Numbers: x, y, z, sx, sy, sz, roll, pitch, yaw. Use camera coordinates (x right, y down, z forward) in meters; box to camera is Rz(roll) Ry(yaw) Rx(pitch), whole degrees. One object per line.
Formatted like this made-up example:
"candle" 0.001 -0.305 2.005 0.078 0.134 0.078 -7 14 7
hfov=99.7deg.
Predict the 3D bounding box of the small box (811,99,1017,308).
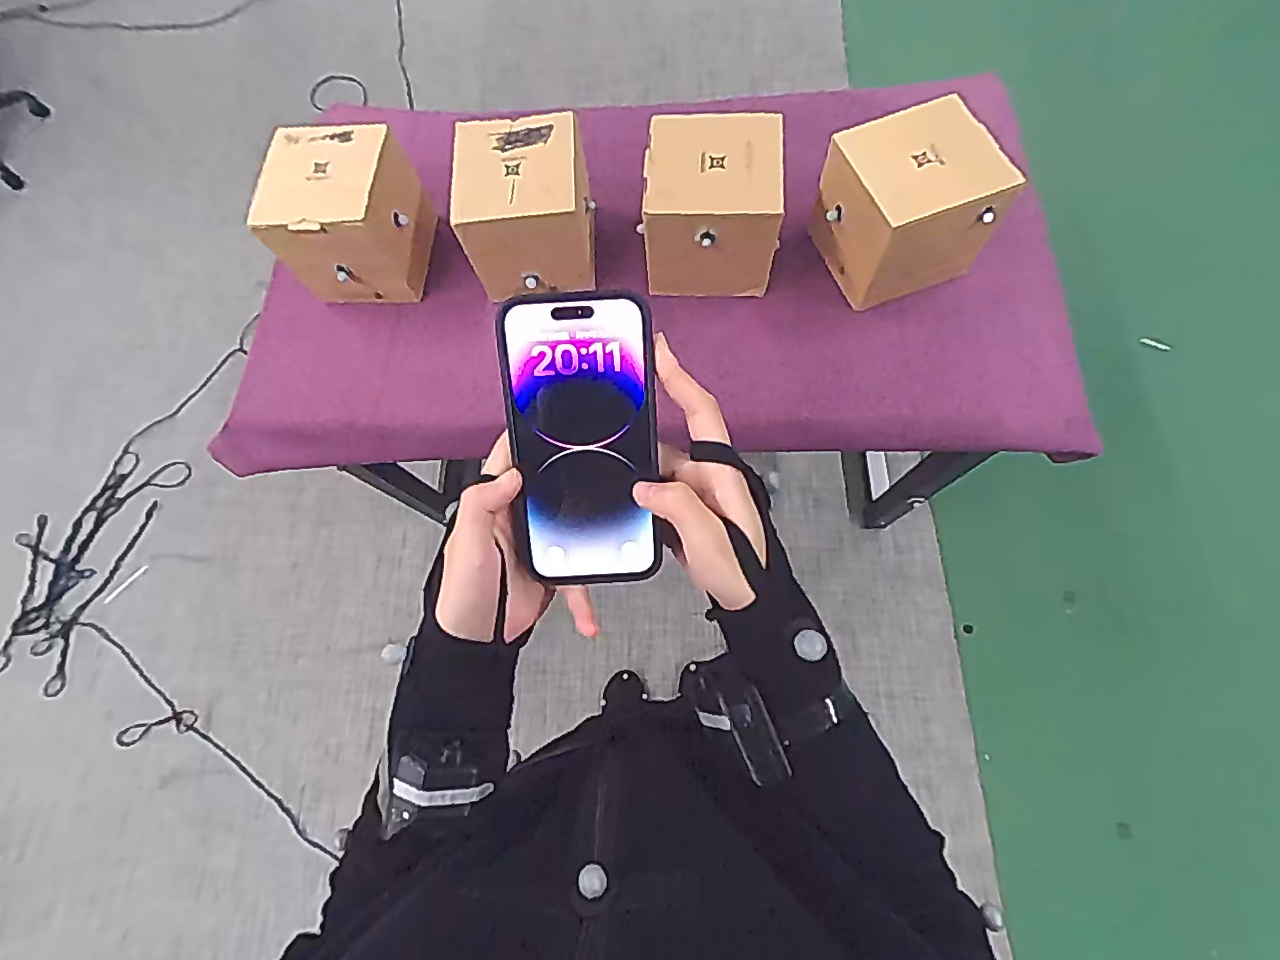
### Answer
"small box" 0.354 -0.369 0.747 0.179 0.176 0.168 -20 70 -3

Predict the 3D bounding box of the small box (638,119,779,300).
"small box" 0.097 -0.376 0.771 0.179 0.176 0.168 3 72 5

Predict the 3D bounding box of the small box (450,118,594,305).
"small box" -0.162 -0.385 0.794 0.168 0.176 0.179 -4 72 3

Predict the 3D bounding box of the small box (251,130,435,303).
"small box" -0.429 -0.384 0.815 0.168 0.176 0.179 1 72 5
